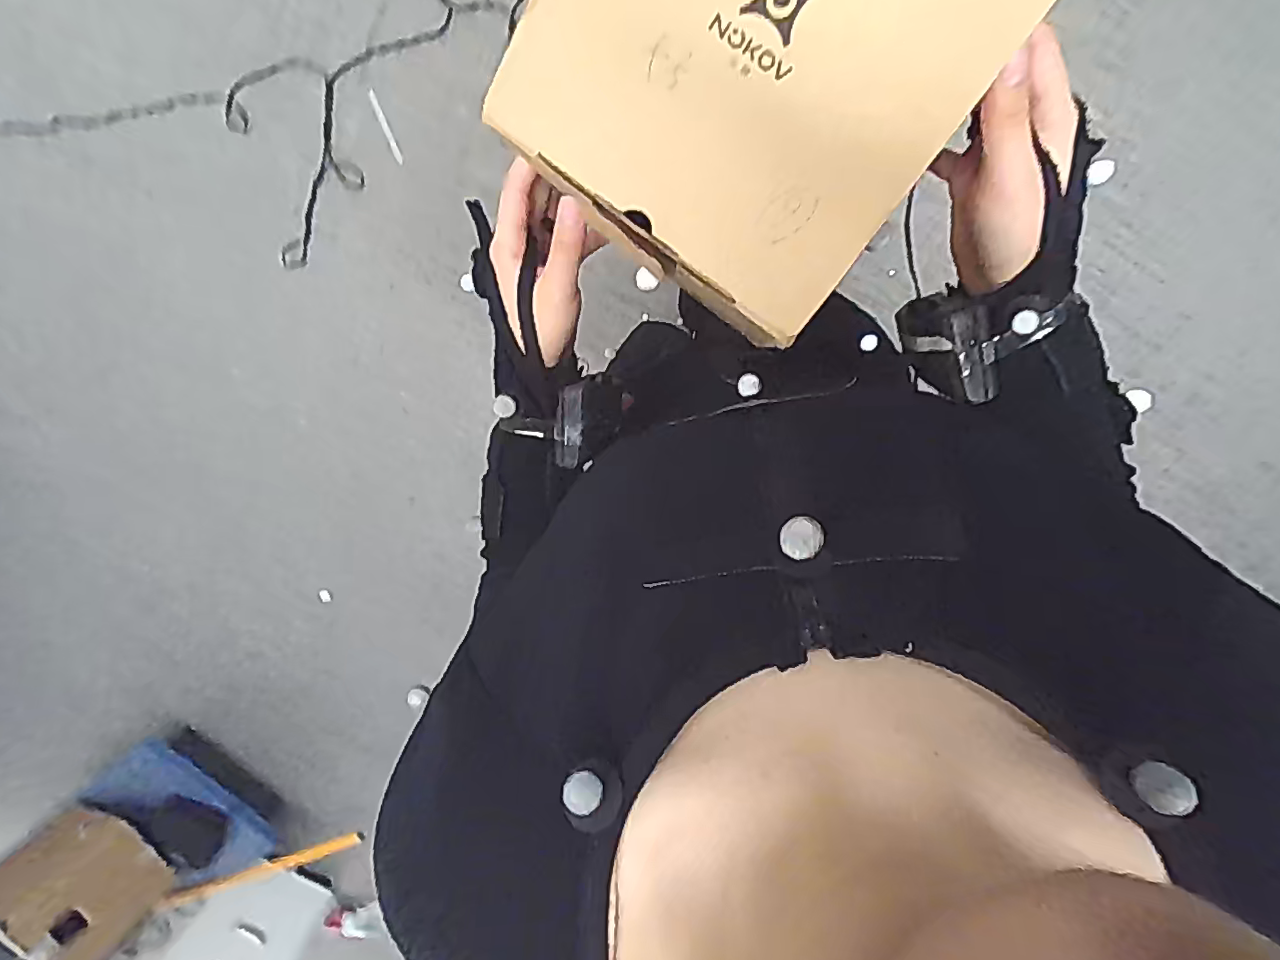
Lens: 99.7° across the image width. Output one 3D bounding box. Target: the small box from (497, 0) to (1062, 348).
[{"bbox_3d":[0.062,-0.191,0.291,0.168,0.176,0.179,37,107,-1],"label":"small box"}]
